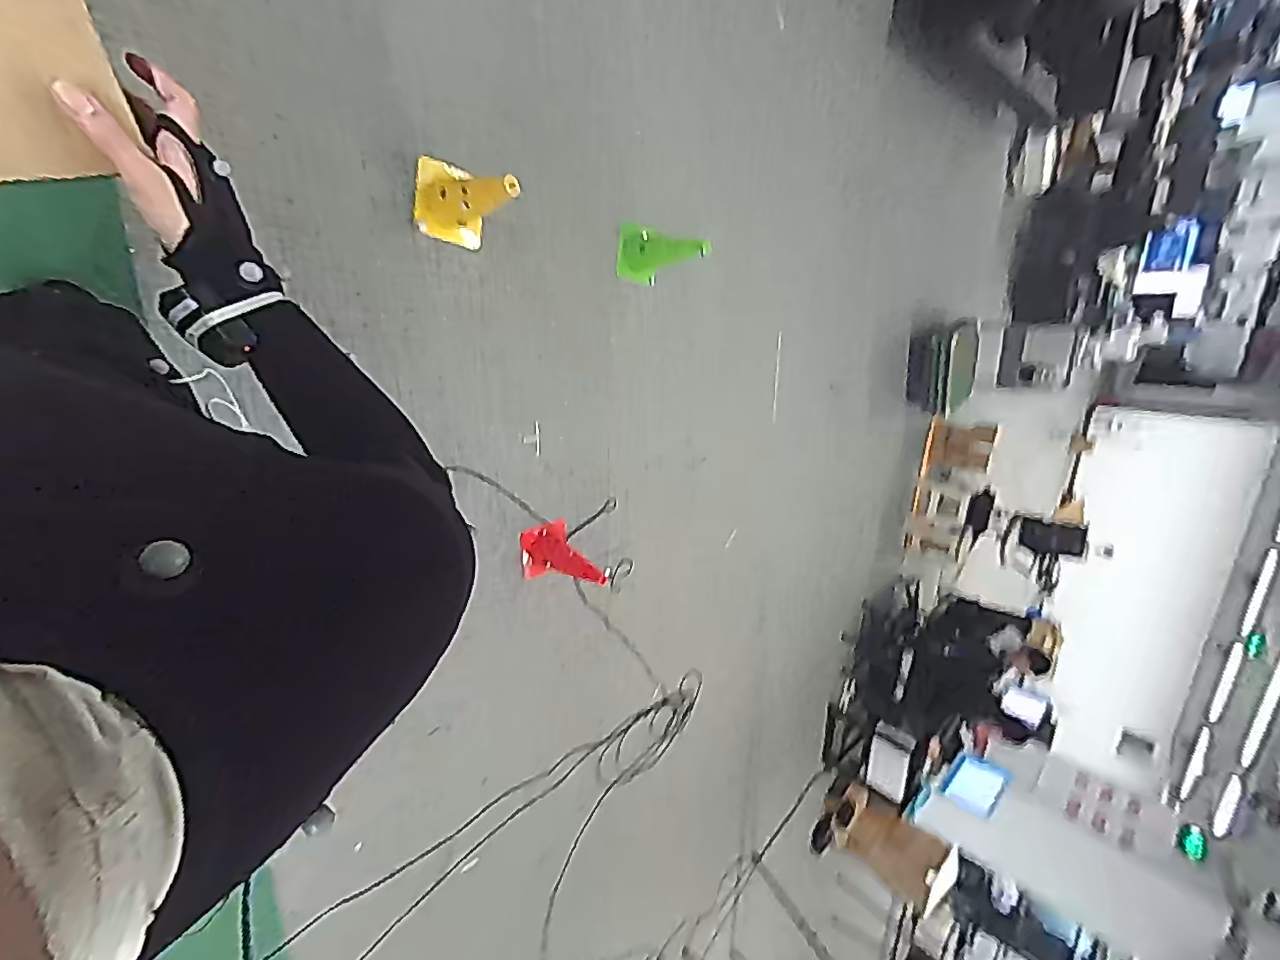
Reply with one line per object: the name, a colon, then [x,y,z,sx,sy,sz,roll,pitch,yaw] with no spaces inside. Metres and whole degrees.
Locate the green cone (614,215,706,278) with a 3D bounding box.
green cone: [0.096,-0.857,1.958,0.202,0.368,0.200,-6,107,-42]
